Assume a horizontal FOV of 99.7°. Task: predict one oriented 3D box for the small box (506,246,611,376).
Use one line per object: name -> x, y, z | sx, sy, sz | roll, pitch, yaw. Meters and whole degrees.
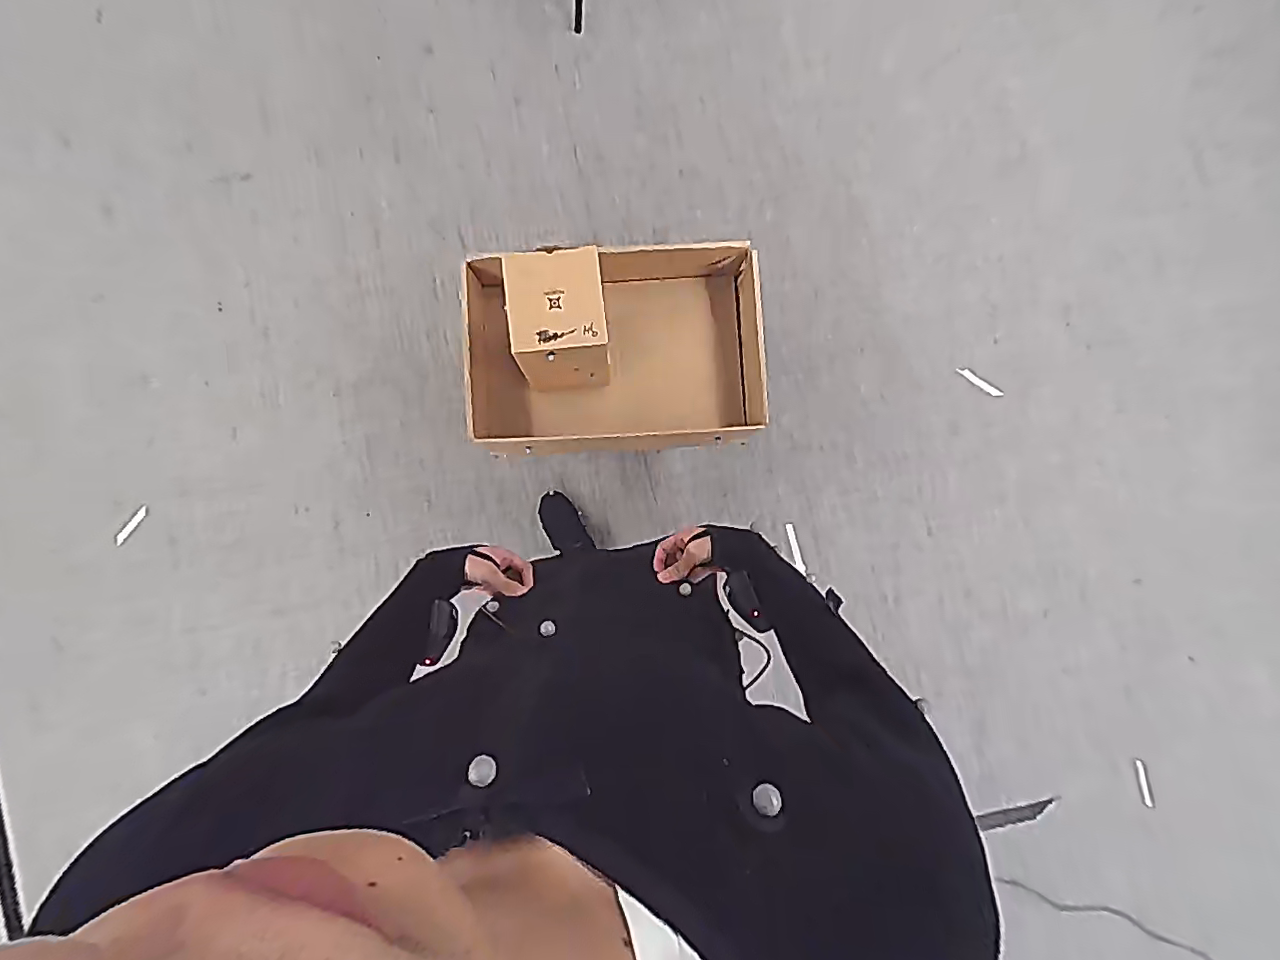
small box -> -0.145, -0.302, 0.993 | 0.168, 0.176, 0.179 | -6, 87, -4
